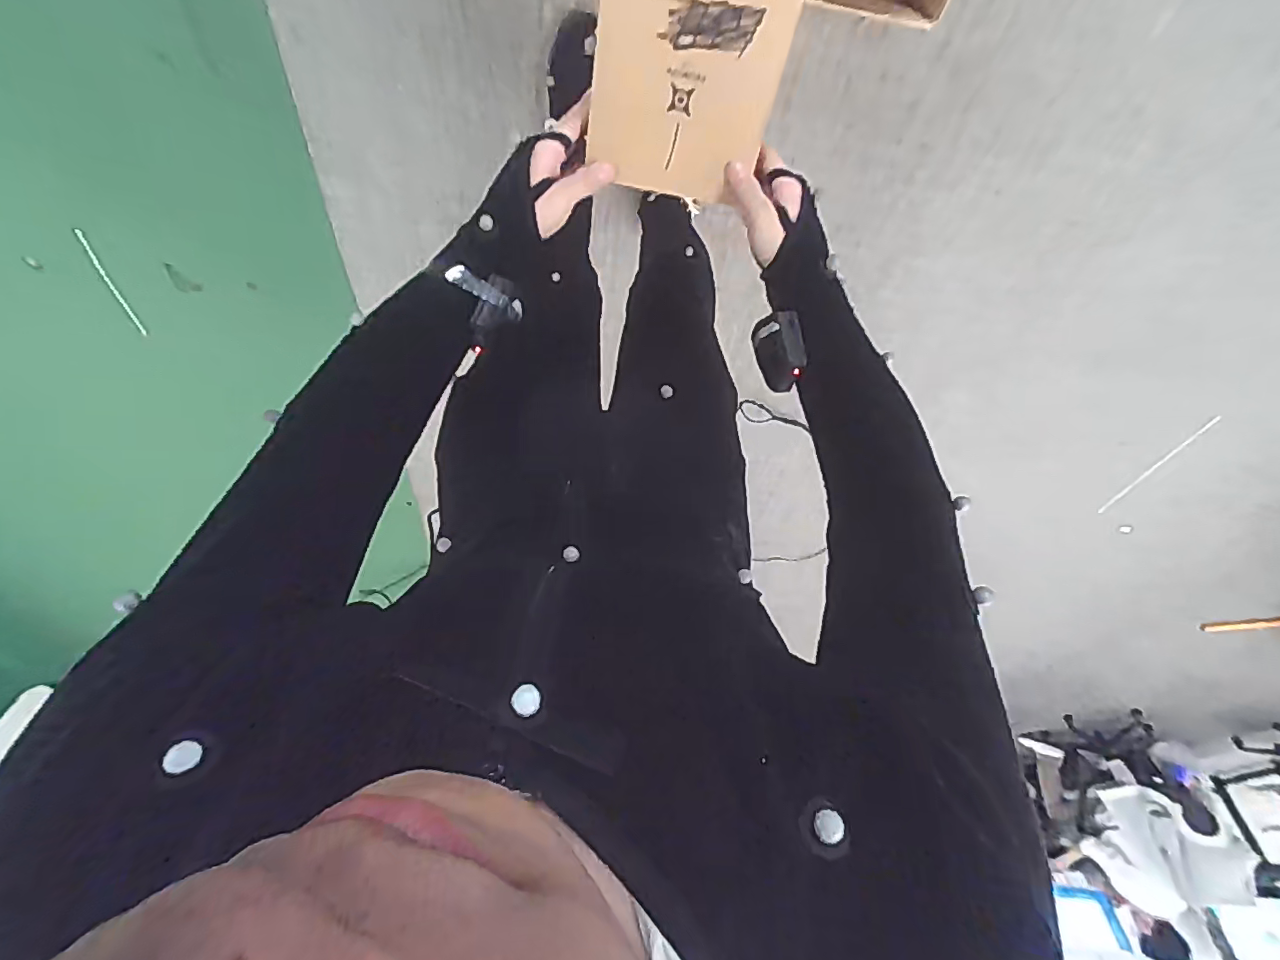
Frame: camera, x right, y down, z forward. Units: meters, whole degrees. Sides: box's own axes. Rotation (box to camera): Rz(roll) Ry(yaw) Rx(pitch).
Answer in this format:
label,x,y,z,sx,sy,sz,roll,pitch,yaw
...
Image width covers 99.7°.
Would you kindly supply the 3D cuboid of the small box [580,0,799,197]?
label,x,y,z,sx,sy,sz,roll,pitch,yaw
small box,0.038,-0.411,0.531,0.168,0.176,0.179,8,133,-7
